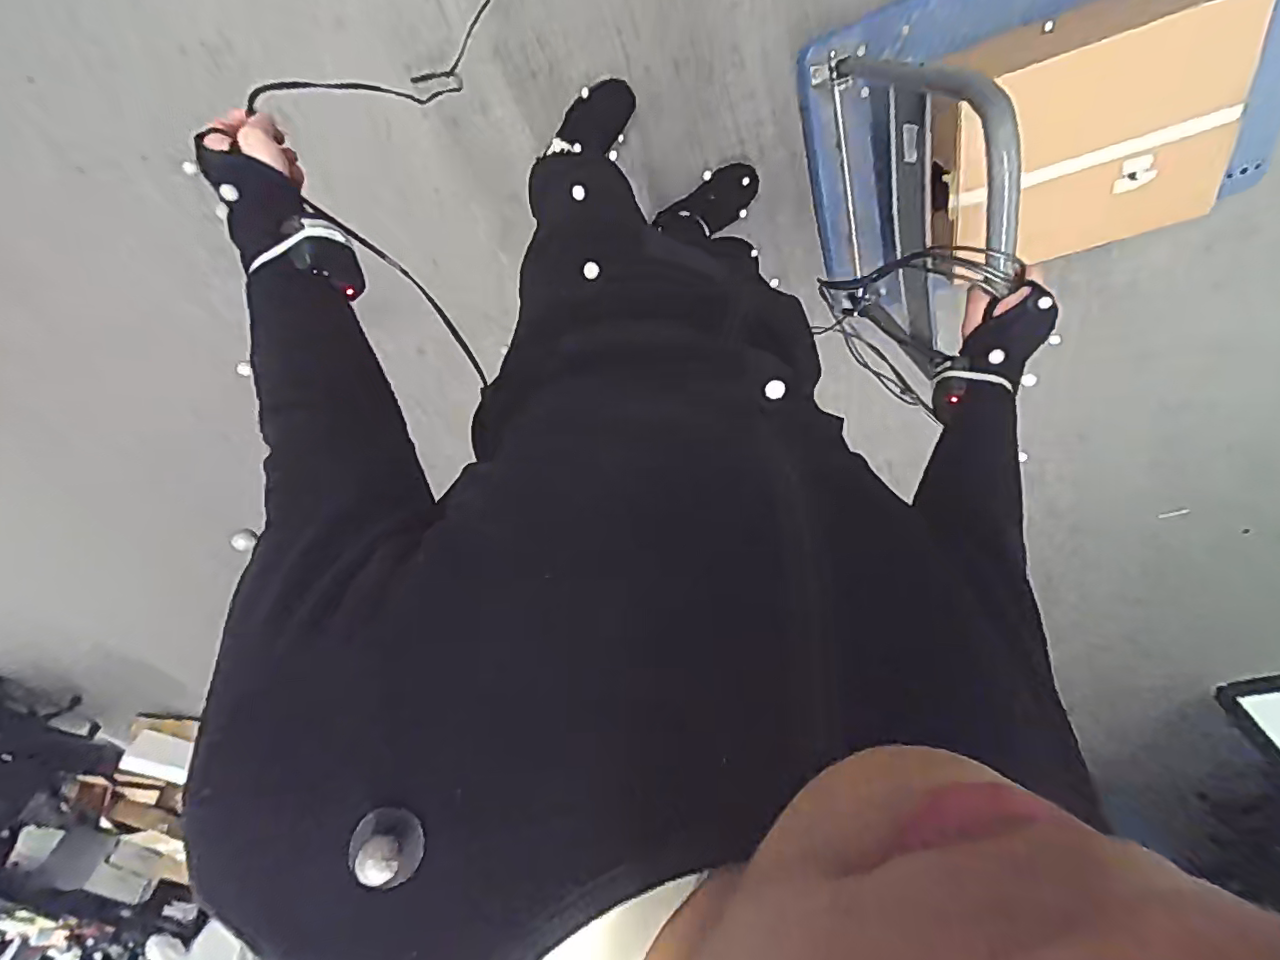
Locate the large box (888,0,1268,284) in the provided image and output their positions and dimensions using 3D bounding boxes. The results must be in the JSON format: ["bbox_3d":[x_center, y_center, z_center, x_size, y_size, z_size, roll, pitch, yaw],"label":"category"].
[{"bbox_3d":[0.706,-0.608,0.967,0.408,0.320,0.320,-14,129,12],"label":"large box"}]
